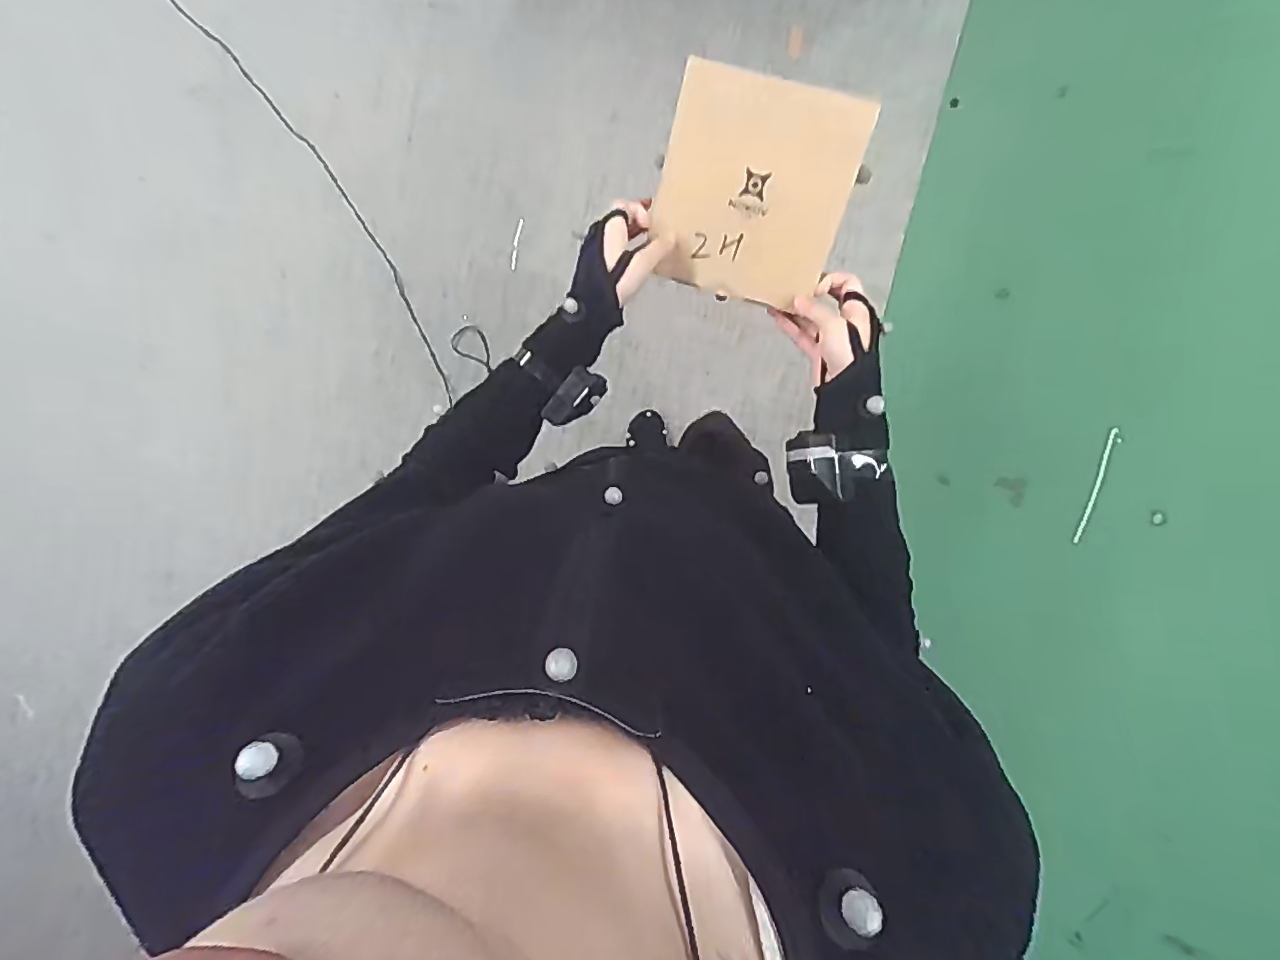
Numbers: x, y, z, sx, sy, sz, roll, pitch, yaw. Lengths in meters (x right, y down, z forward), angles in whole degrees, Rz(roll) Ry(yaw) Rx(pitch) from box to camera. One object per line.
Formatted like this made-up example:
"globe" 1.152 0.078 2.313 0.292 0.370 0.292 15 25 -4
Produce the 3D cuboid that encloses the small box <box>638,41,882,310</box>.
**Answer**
"small box" 0.108 -0.287 0.540 0.168 0.176 0.179 17 116 4
